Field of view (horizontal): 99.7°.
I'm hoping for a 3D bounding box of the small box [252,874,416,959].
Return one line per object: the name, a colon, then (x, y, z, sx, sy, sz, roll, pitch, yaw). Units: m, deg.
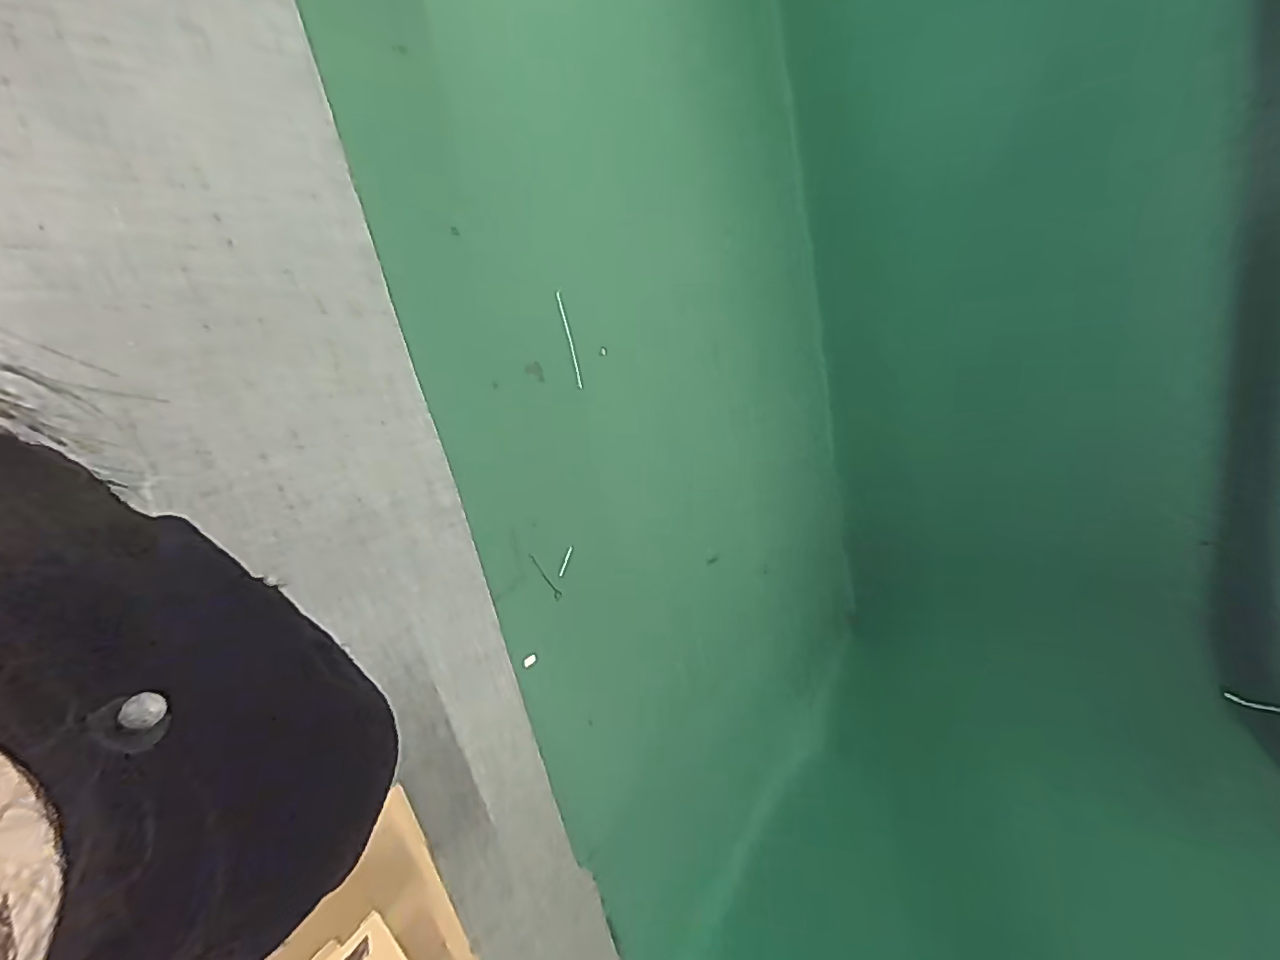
small box: (-0.511, 0.816, 0.913, 0.168, 0.176, 0.179, -36, 116, -43)
